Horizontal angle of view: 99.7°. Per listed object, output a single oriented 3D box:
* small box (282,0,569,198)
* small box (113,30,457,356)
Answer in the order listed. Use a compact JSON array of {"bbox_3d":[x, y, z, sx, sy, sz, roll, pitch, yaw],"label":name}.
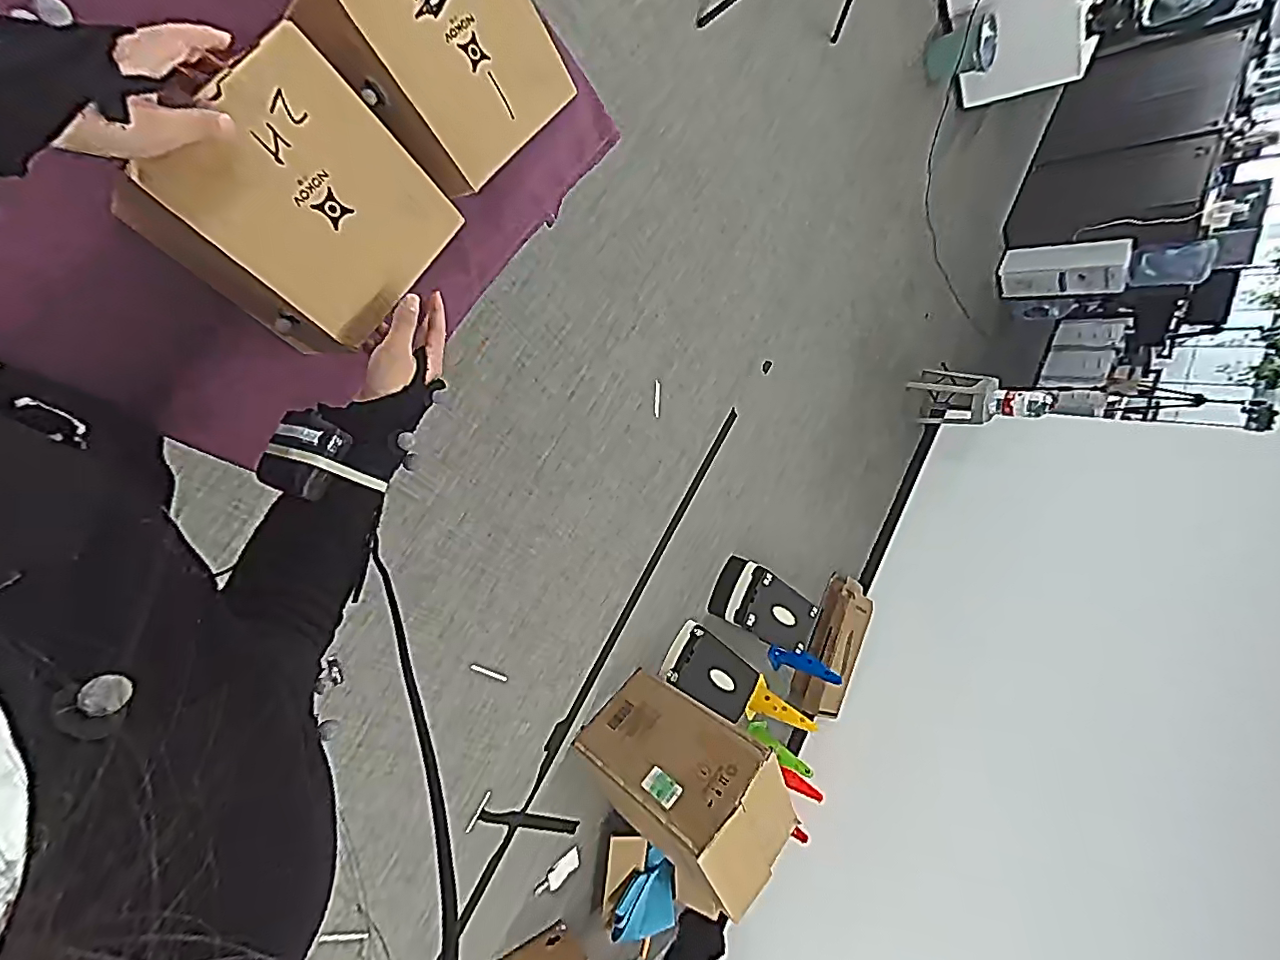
[{"bbox_3d":[-0.212,-0.401,0.532,0.168,0.176,0.179,-54,134,-18],"label":"small box"},{"bbox_3d":[-0.310,-0.233,0.482,0.179,0.176,0.168,46,67,-41],"label":"small box"}]
